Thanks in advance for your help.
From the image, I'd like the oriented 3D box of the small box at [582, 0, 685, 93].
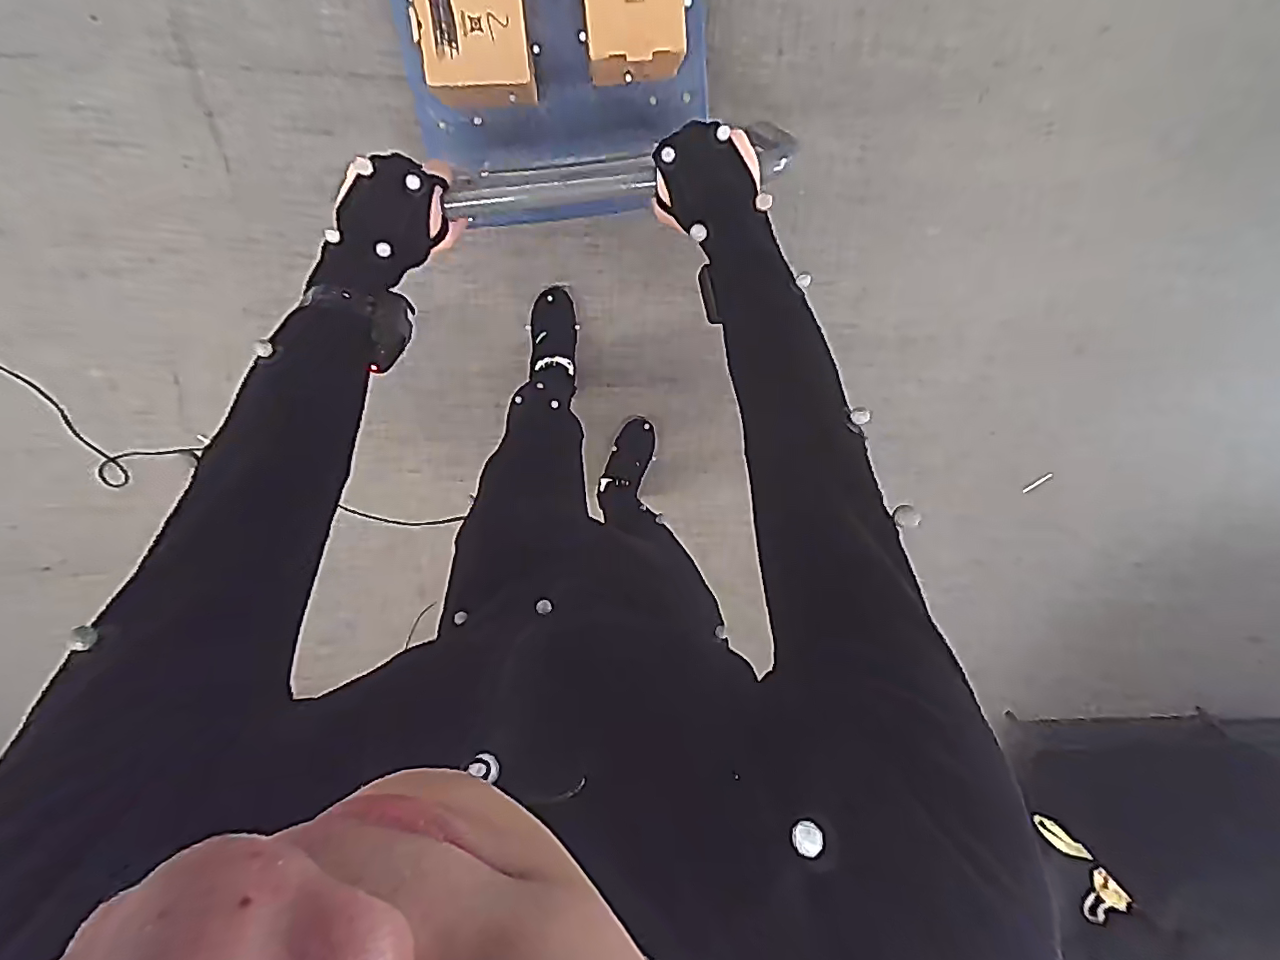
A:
[{"bbox_3d":[-0.016,-0.830,0.977,0.168,0.176,0.179,-7,114,-2],"label":"small box"}]
